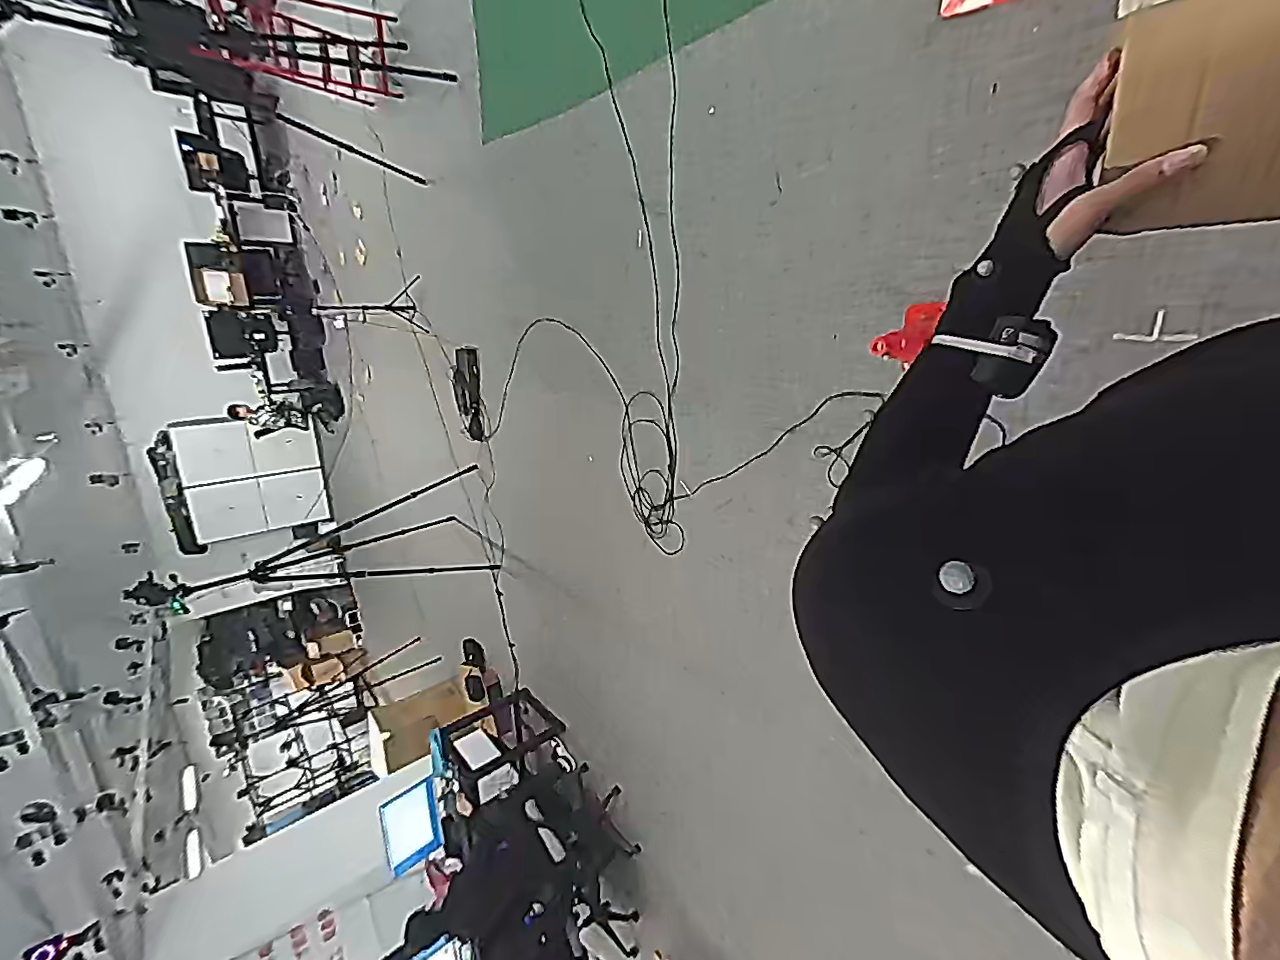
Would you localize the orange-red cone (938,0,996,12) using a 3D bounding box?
[{"bbox_3d":[0.676,-1.186,1.140,0.199,0.360,0.198,28,122,45],"label":"orange-red cone"}]
